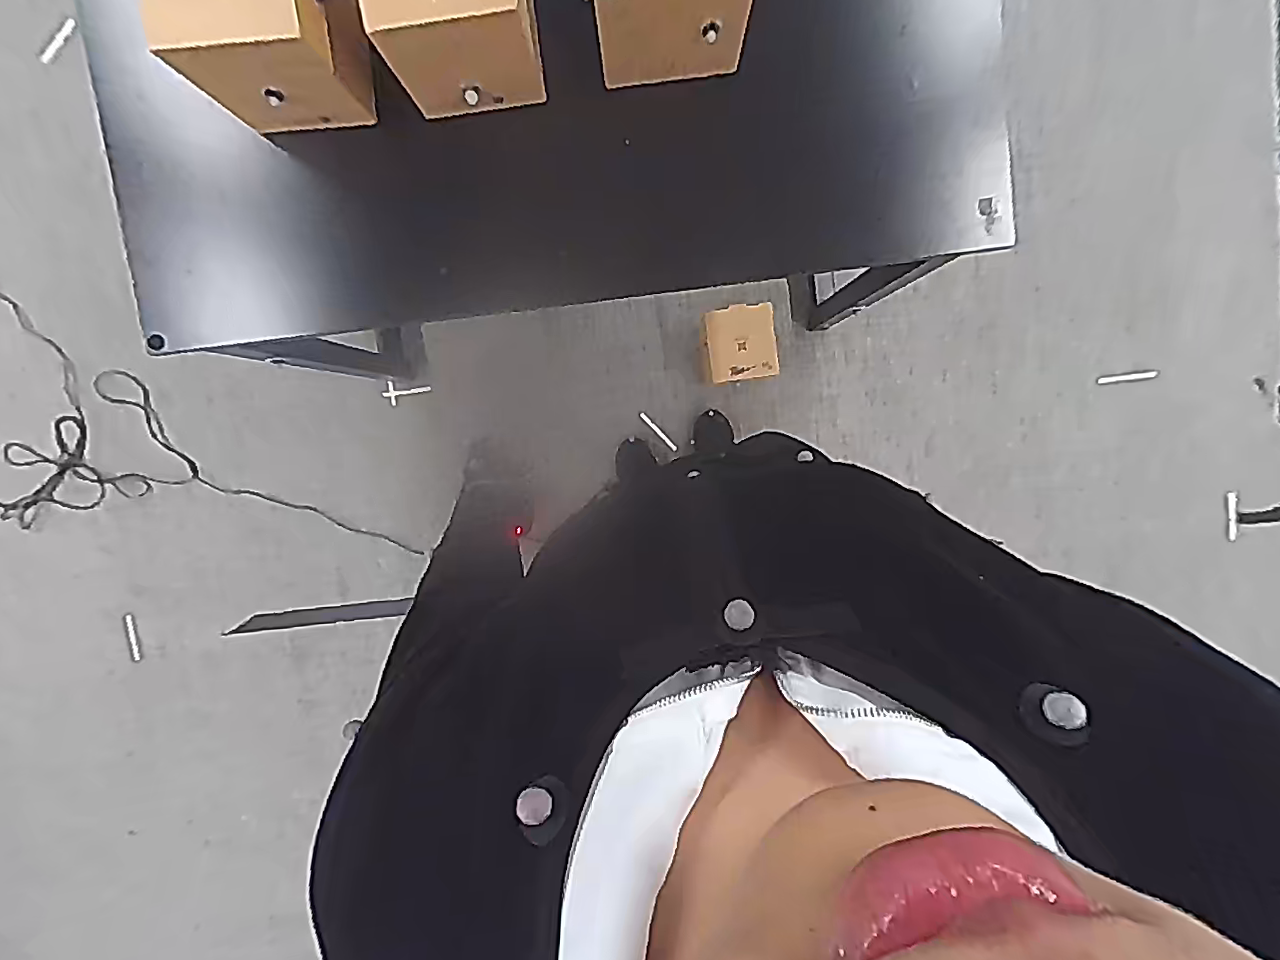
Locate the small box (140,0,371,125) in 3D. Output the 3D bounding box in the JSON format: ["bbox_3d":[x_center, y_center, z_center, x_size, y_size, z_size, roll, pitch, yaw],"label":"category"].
[{"bbox_3d":[-0.442,-0.551,0.640,0.168,0.176,0.179,-4,95,0],"label":"small box"}]

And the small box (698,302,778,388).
[{"bbox_3d":[0.245,-0.339,1.382,0.168,0.176,0.179,-8,95,2],"label":"small box"}]

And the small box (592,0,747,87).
[{"bbox_3d":[0.028,-0.603,0.631,0.179,0.176,0.168,-7,94,3],"label":"small box"}]

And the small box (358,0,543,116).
[{"bbox_3d":[-0.218,-0.573,0.635,0.168,0.176,0.179,-7,96,2],"label":"small box"}]
